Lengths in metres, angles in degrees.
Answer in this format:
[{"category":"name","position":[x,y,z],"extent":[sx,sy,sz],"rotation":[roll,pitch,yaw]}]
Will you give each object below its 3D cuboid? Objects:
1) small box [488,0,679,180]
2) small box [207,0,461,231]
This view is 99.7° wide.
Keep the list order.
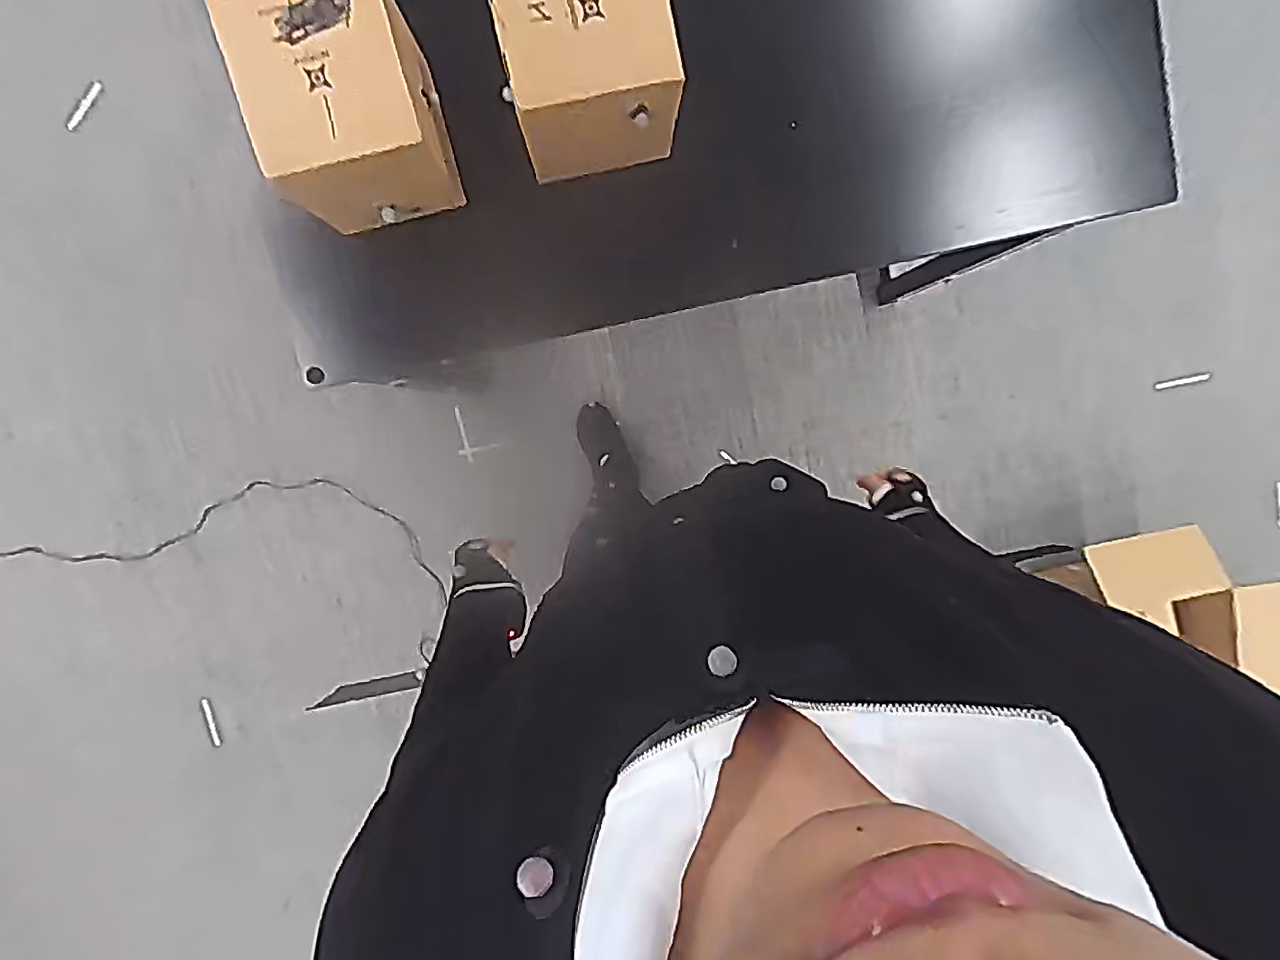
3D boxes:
[{"category":"small box","position":[-0.065,-0.476,0.618],"extent":[0.179,0.176,0.168],"rotation":[-13,97,-1]},{"category":"small box","position":[-0.325,-0.414,0.614],"extent":[0.168,0.176,0.179],"rotation":[-15,98,-1]}]
